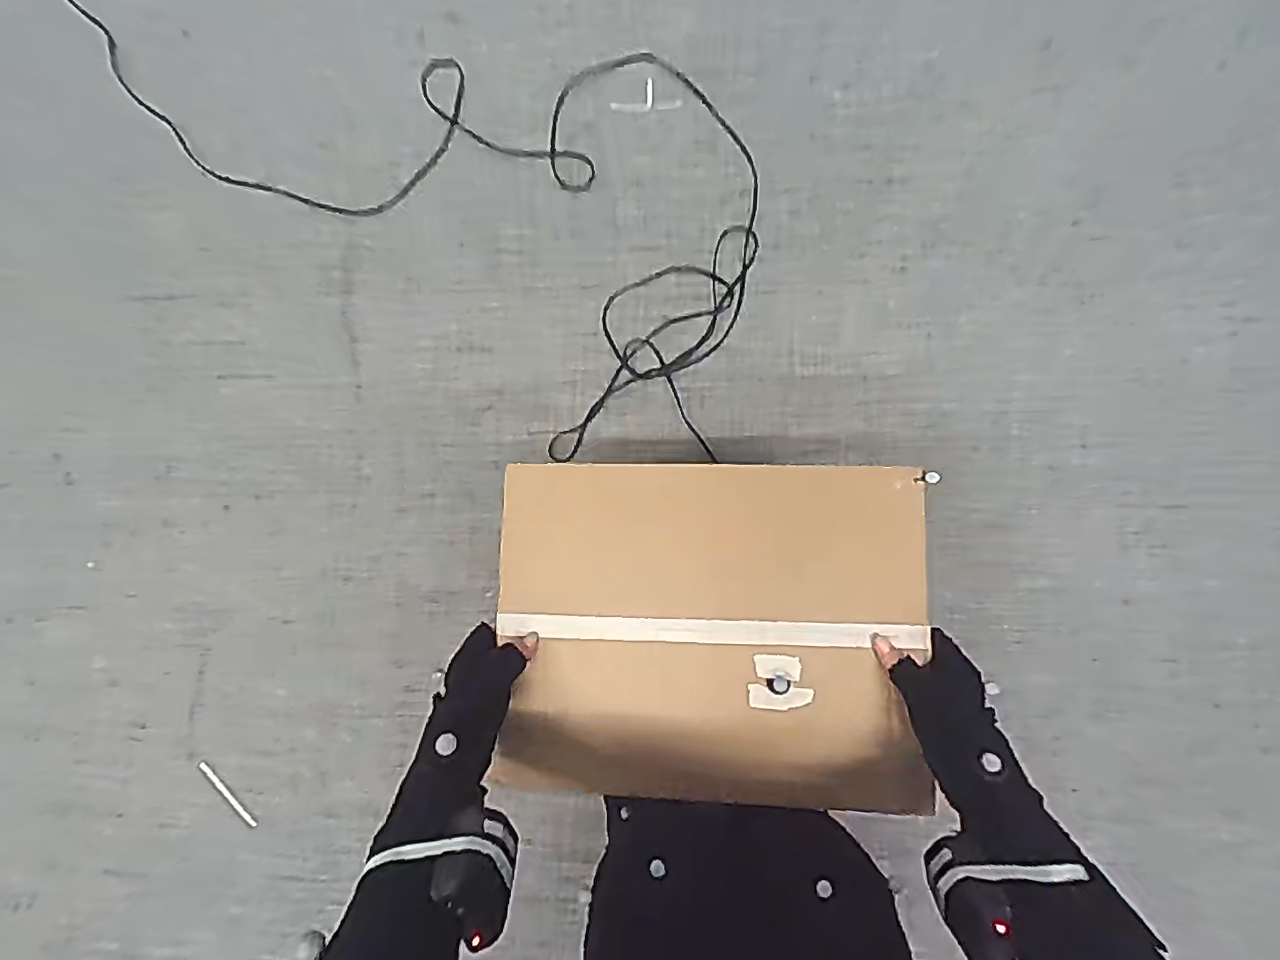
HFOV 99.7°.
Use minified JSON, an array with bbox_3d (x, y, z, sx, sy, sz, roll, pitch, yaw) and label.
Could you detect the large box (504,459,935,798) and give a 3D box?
[{"bbox_3d":[0.077,0.150,0.660,0.408,0.320,0.320,0,85,5],"label":"large box"}]
